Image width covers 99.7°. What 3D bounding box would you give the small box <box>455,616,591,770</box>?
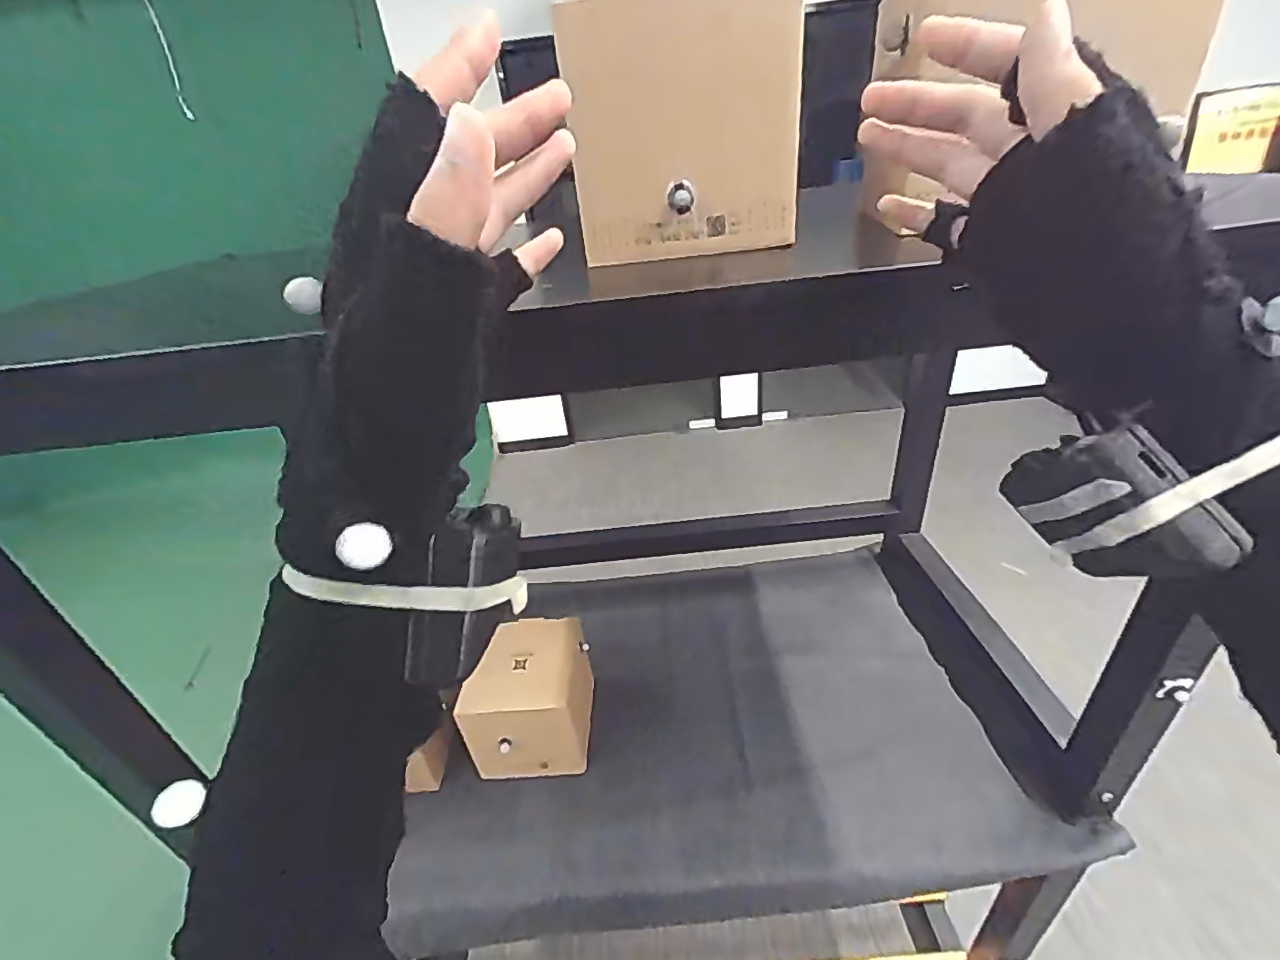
[{"bbox_3d":[-0.176,0.349,0.879,0.168,0.176,0.179,-5,30,3],"label":"small box"}]

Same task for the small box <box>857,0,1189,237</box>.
[{"bbox_3d":[0.278,-0.296,0.431,0.168,0.176,0.179,0,31,11],"label":"small box"}]
